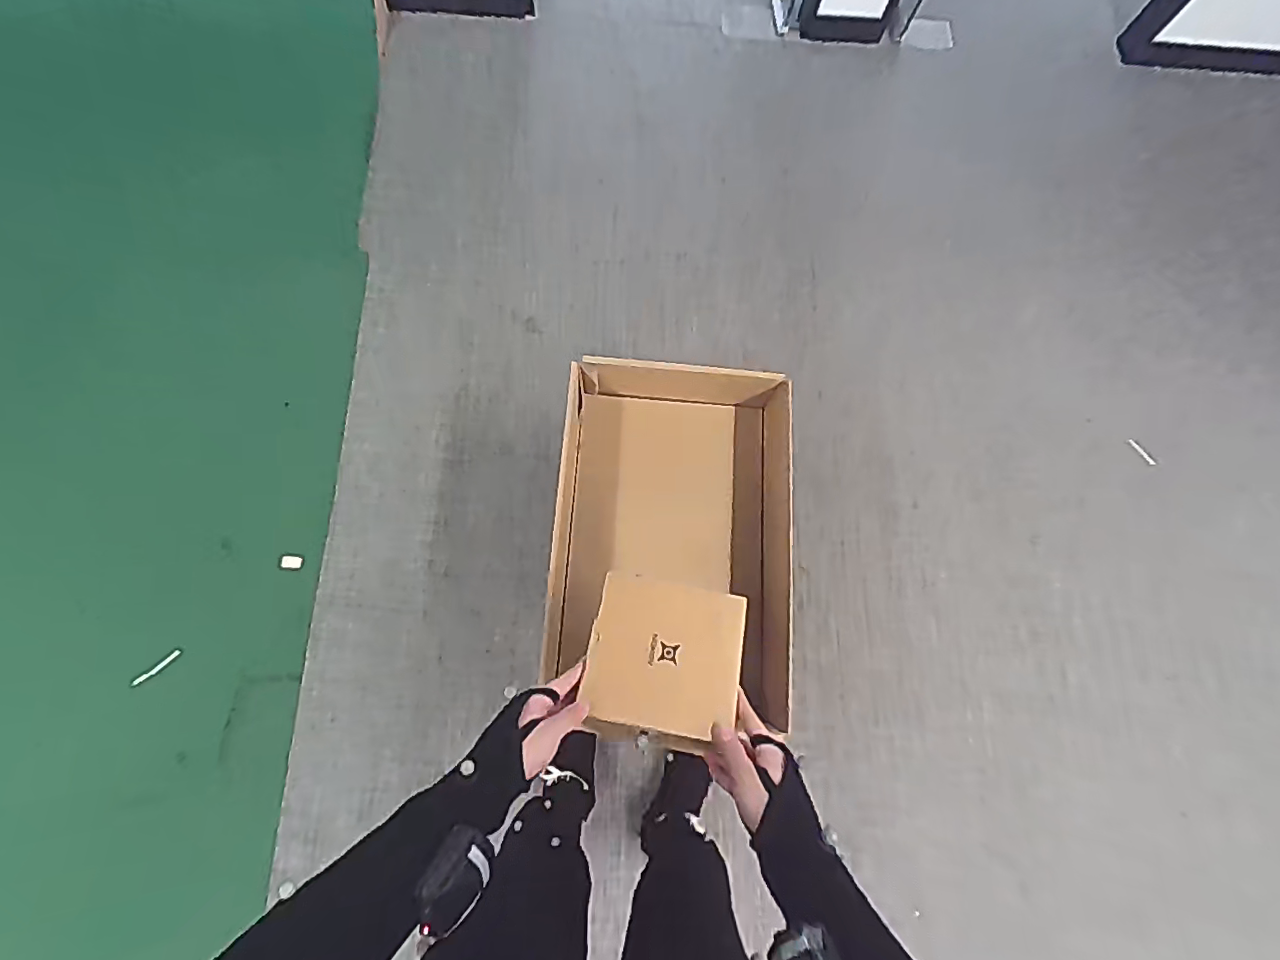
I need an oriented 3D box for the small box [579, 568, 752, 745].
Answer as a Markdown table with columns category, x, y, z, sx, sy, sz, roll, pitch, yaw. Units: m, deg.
| category | x | y | z | sx | sy | sz | roll | pitch | yaw |
| --- | --- | --- | --- | --- | --- | --- | --- | --- | --- |
| small box | 0.034 | 0.230 | 0.685 | 0.179 | 0.176 | 0.168 | 10 | 61 | 5 |
